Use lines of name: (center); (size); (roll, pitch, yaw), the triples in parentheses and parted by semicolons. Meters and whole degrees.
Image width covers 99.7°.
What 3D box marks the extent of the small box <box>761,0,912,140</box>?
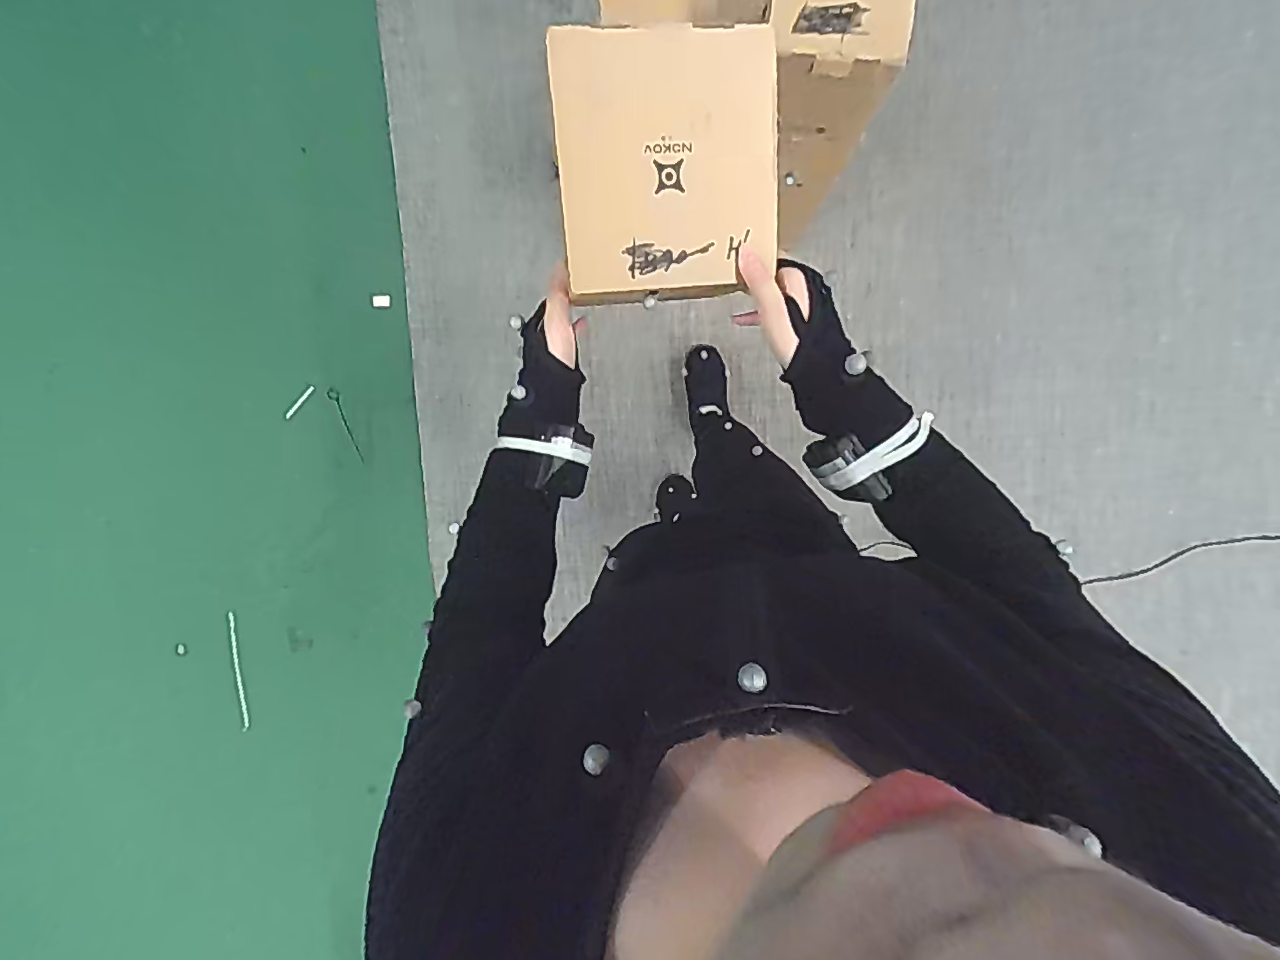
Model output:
small box: (0.241, -0.579, 0.705); (0.168, 0.176, 0.179); (7, 94, 3)

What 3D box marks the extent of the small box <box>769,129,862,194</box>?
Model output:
small box: (0.253, -0.590, 0.869); (0.168, 0.176, 0.179); (4, 95, 4)

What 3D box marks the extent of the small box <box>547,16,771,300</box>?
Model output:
small box: (0.008, -0.262, 0.480); (0.168, 0.176, 0.179); (-5, 104, -5)
